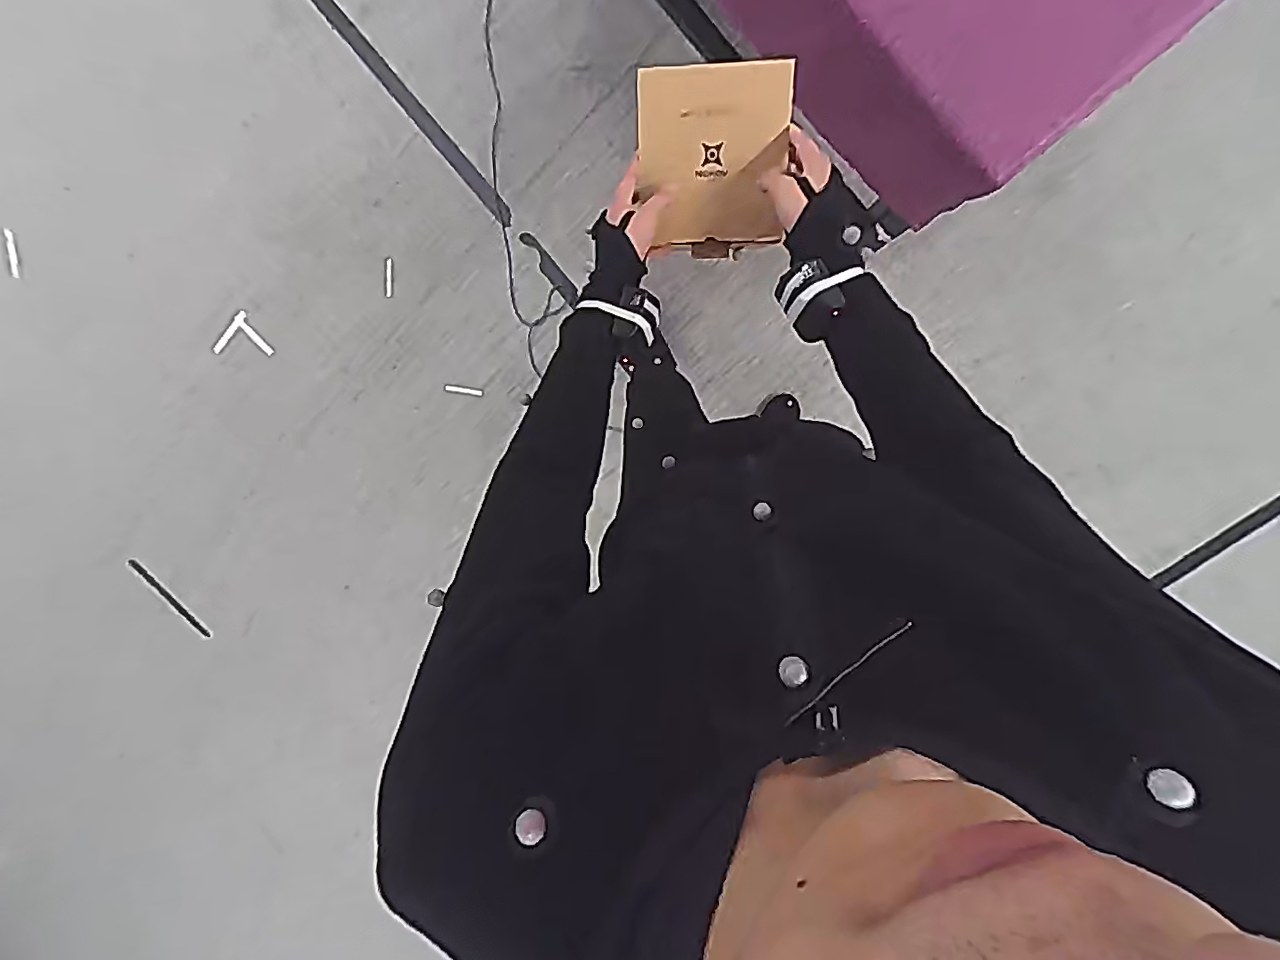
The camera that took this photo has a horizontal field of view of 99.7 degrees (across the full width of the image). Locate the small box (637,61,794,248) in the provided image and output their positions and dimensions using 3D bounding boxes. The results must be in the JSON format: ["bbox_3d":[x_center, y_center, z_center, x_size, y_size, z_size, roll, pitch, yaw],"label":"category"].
[{"bbox_3d":[0.088,-0.385,0.672,0.168,0.176,0.179,2,110,5],"label":"small box"}]
